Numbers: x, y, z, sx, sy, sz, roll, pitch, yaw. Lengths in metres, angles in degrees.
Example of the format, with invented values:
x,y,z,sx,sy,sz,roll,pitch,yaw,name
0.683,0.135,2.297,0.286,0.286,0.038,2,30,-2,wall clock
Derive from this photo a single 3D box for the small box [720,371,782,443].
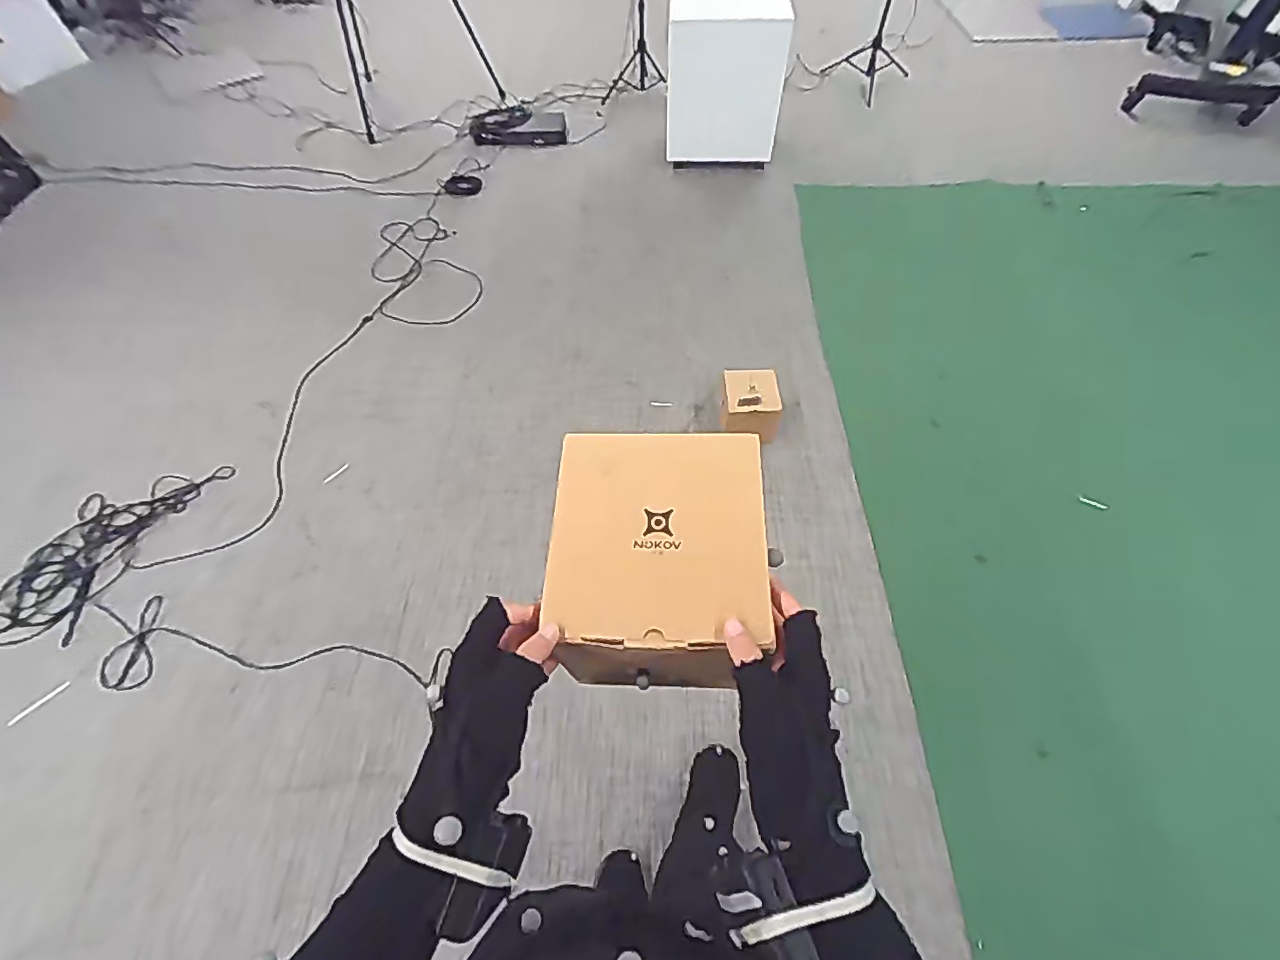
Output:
x,y,z,sx,sy,sz,roll,pitch,yaw,name
0.355,-0.233,1.759,0.168,0.176,0.179,-1,57,1,small box
